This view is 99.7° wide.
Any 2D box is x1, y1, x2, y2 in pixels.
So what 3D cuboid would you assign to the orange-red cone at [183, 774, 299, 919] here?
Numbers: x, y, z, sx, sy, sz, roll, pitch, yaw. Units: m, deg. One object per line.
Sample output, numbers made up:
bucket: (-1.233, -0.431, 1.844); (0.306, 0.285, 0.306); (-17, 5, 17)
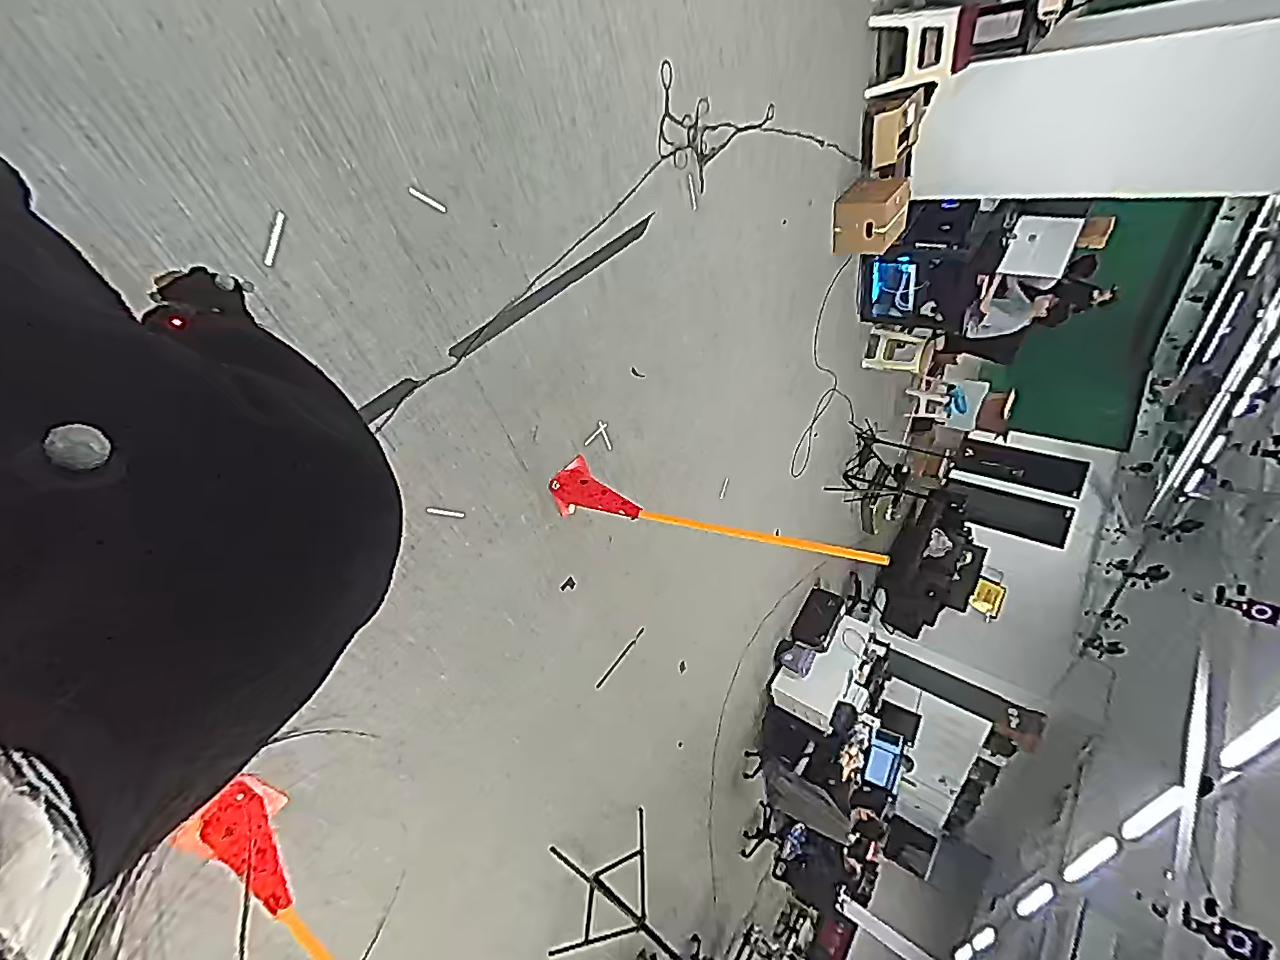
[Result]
orange-red cone: (-0.957, 0.968, 1.373); (0.199, 0.360, 0.198); (-44, 137, -31)
